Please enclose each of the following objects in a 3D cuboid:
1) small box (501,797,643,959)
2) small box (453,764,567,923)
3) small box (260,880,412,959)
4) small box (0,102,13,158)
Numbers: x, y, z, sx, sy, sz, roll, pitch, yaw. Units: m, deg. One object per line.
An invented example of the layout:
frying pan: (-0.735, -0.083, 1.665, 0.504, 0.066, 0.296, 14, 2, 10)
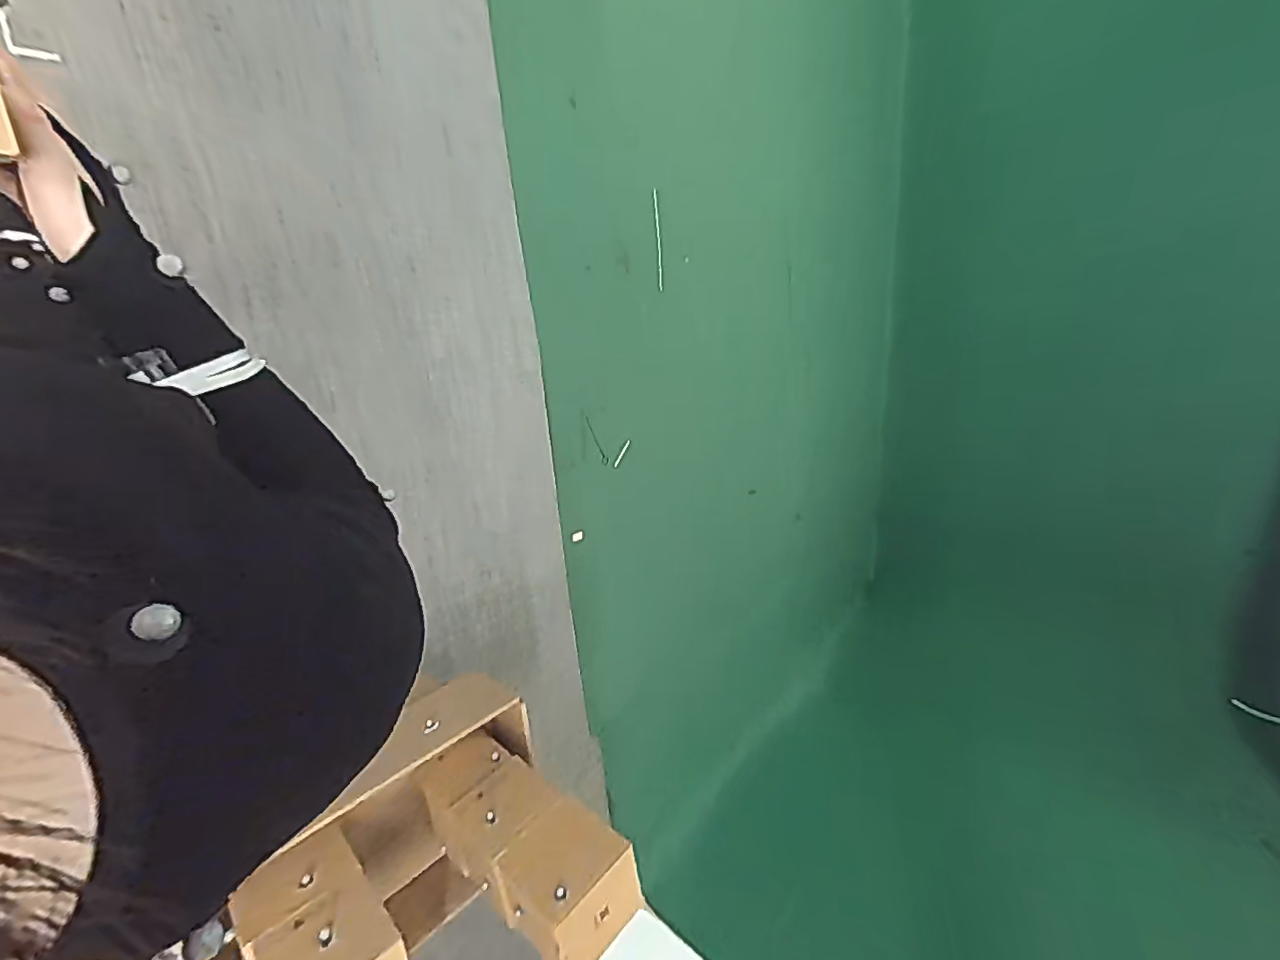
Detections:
small box: (-0.120, 0.723, 0.974, 0.179, 0.176, 0.168, -26, 117, -40)
small box: (-0.247, 0.701, 1.074, 0.168, 0.176, 0.179, -25, 117, -41)
small box: (-0.470, 0.784, 0.851, 0.168, 0.176, 0.179, -17, 111, -43)
small box: (-0.421, -0.249, 0.231, 0.168, 0.176, 0.179, -21, 124, -46)
